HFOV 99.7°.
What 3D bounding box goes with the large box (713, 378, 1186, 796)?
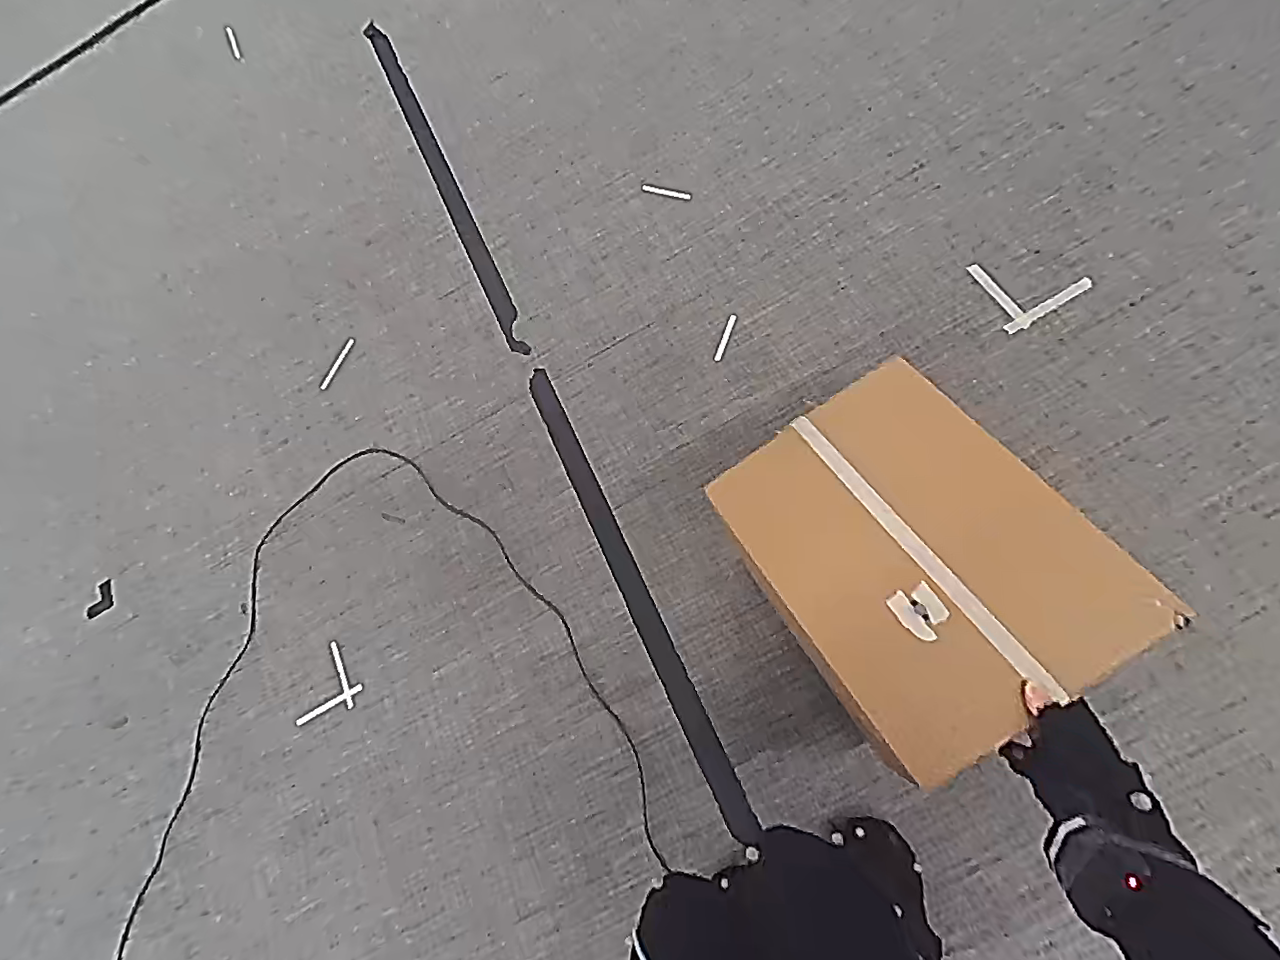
[{"bbox_3d":[0.358,0.145,0.758,0.320,0.320,0.408,-35,61,2],"label":"large box"}]
